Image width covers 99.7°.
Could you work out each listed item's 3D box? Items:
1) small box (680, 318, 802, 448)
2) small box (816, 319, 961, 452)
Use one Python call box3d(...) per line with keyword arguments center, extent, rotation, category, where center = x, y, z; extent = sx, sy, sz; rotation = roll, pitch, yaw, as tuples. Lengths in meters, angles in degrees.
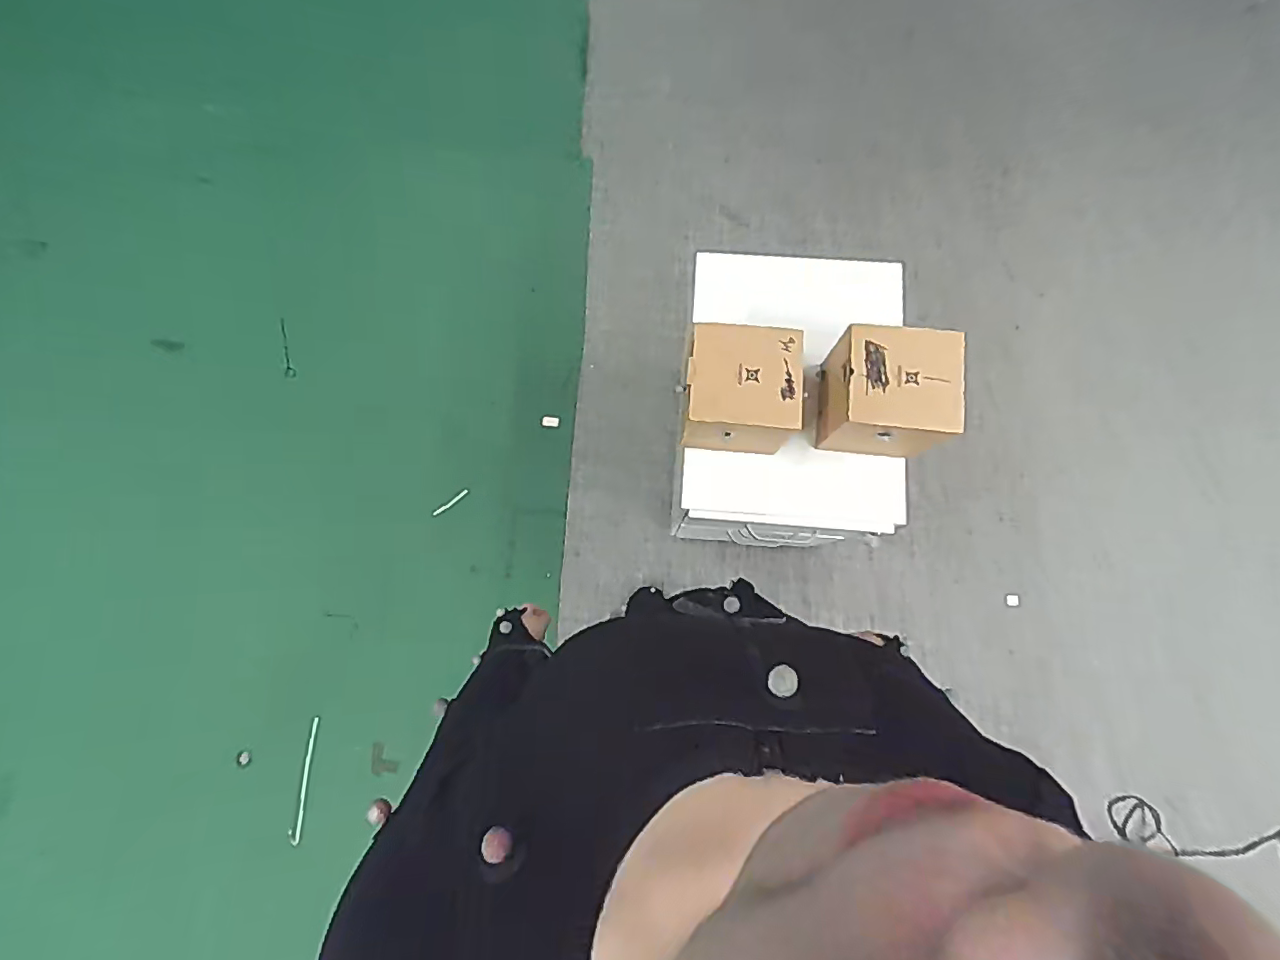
box3d(center=(0.161, -0.155, 0.912), extent=(0.179, 0.176, 0.168), rotation=(5, 80, 1), category="small box")
box3d(center=(0.406, -0.149, 0.908), extent=(0.179, 0.176, 0.168), rotation=(6, 79, 2), category="small box")
